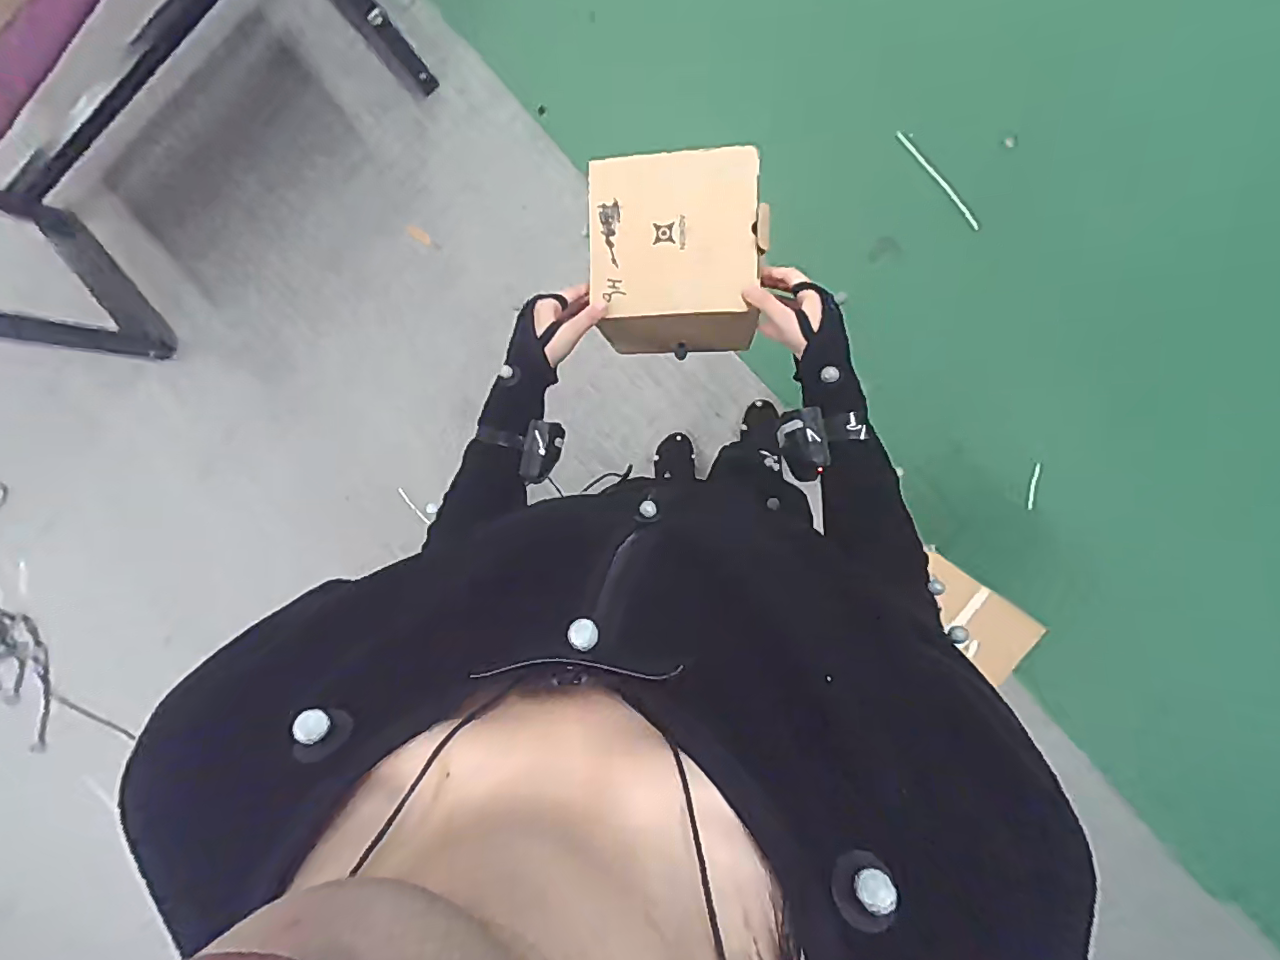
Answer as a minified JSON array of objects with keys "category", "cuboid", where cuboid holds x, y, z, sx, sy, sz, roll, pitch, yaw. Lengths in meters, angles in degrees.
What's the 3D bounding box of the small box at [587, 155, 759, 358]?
[{"category":"small box","cuboid":[0.040,-0.242,0.627,0.179,0.176,0.168,-1,89,7]}]
